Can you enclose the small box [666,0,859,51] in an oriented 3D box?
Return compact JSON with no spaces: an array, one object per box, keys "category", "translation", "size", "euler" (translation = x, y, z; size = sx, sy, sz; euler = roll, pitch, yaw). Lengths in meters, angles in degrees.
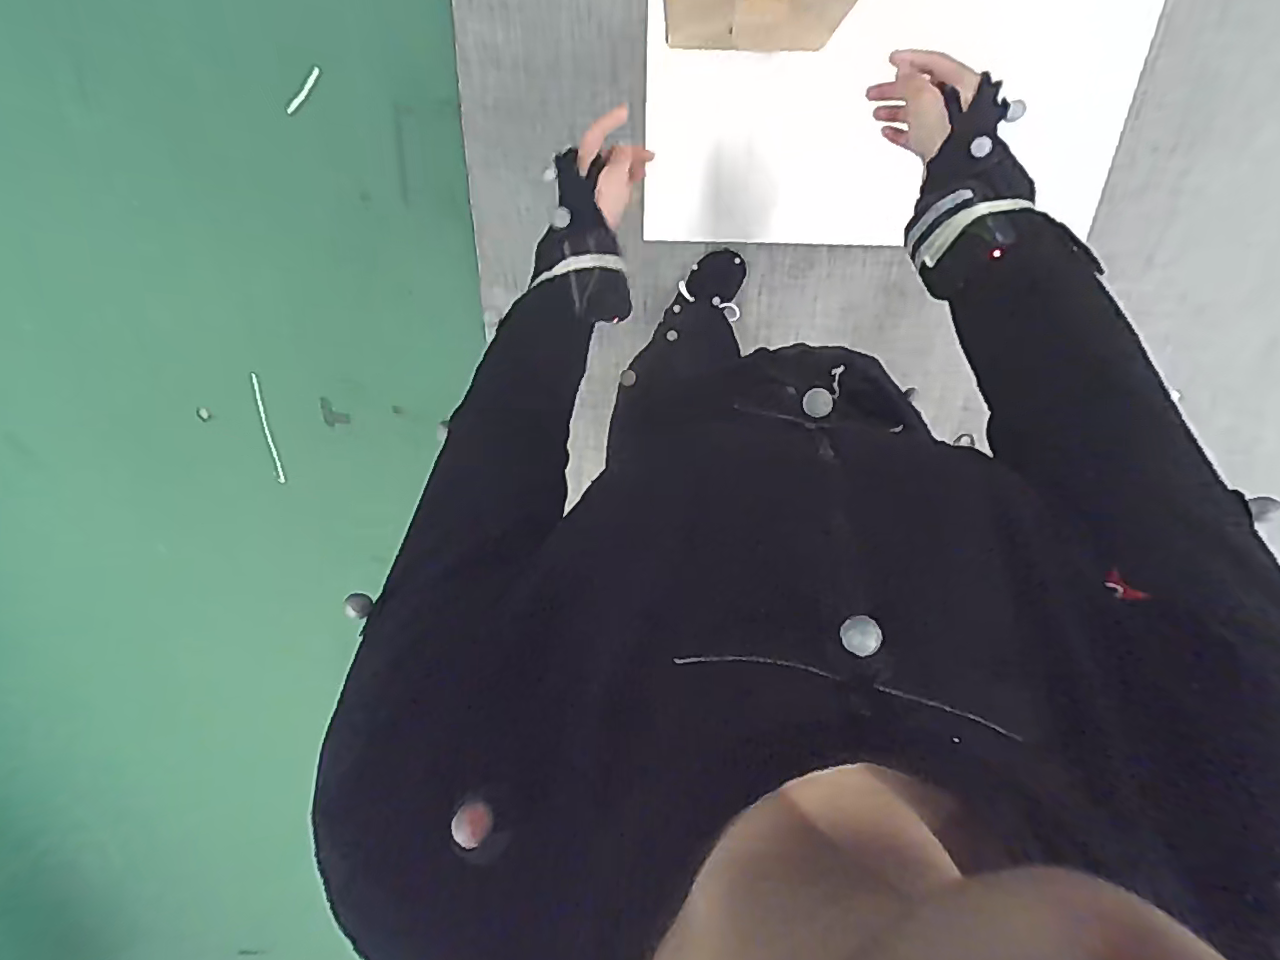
[{"category":"small box","translation":[0.108,-0.501,0.460],"size":[0.168,0.176,0.179],"euler":[3,115,3]}]
